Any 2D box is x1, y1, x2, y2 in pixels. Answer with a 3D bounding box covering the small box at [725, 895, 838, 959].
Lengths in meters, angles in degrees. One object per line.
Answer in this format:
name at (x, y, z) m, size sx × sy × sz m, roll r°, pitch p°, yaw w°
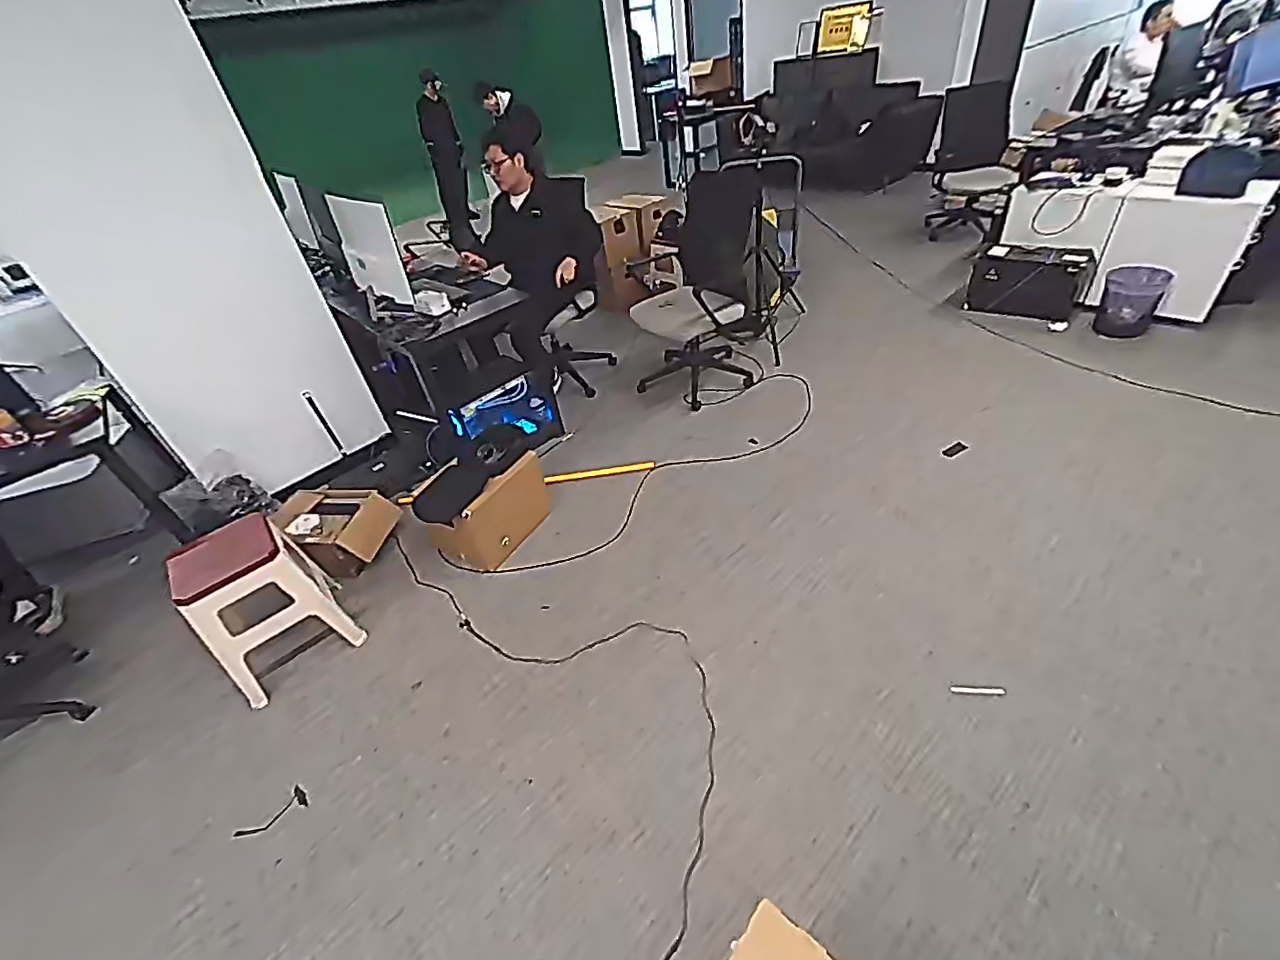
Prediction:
small box at (0.204, 0.779, 0.798) m, size 0.168 × 0.176 × 0.179 m, roll 24°, pitch 48°, yaw 35°
